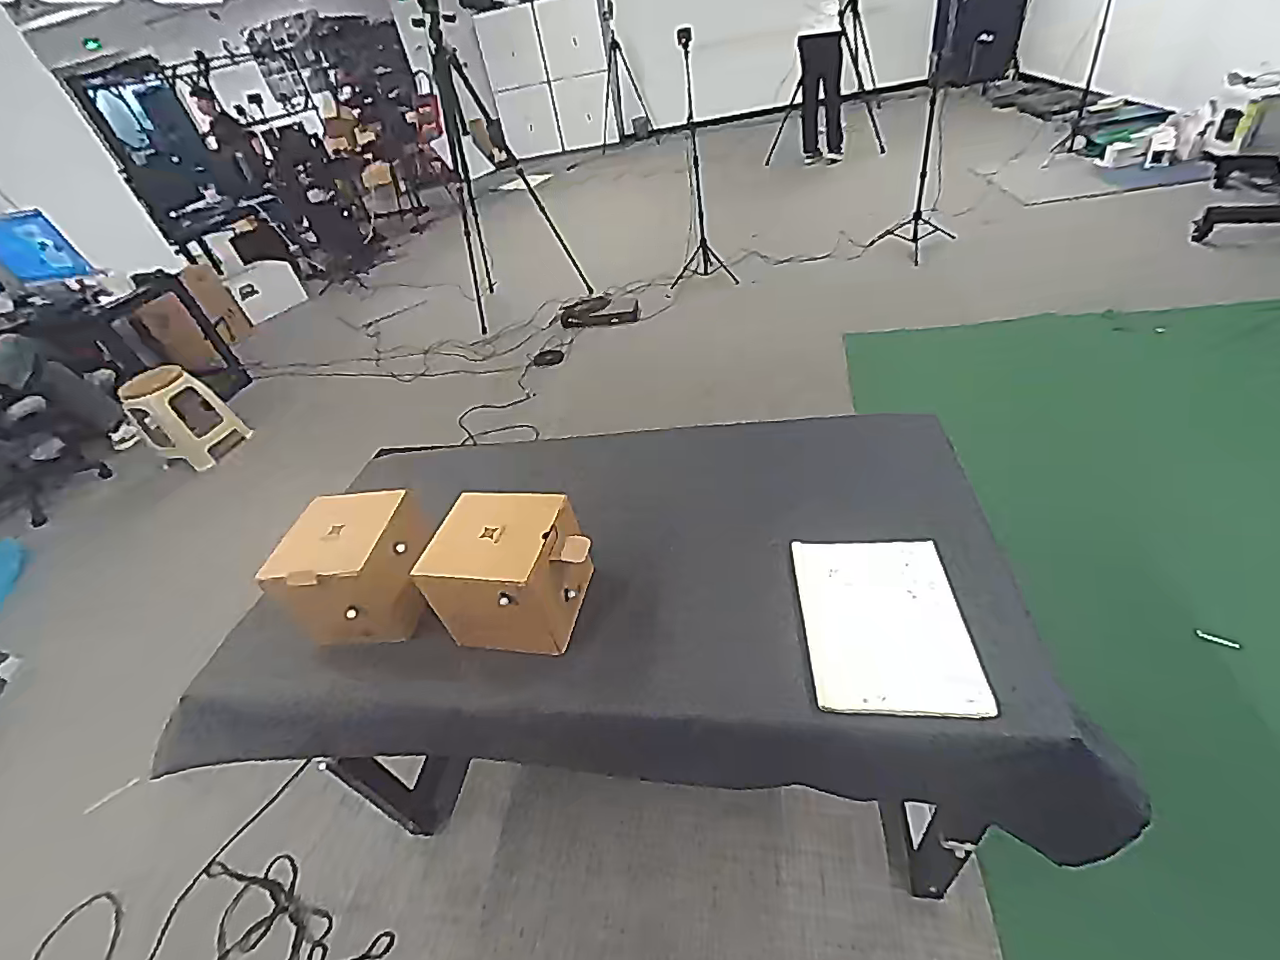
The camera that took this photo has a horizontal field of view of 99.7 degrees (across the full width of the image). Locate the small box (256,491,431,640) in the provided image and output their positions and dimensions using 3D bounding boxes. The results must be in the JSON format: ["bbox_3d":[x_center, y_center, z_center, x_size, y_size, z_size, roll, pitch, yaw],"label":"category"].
[{"bbox_3d":[-0.444,0.141,0.861,0.168,0.176,0.179,-5,39,8],"label":"small box"}]

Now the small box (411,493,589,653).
[{"bbox_3d":[-0.192,0.136,0.799,0.179,0.176,0.168,1,41,15],"label":"small box"}]
